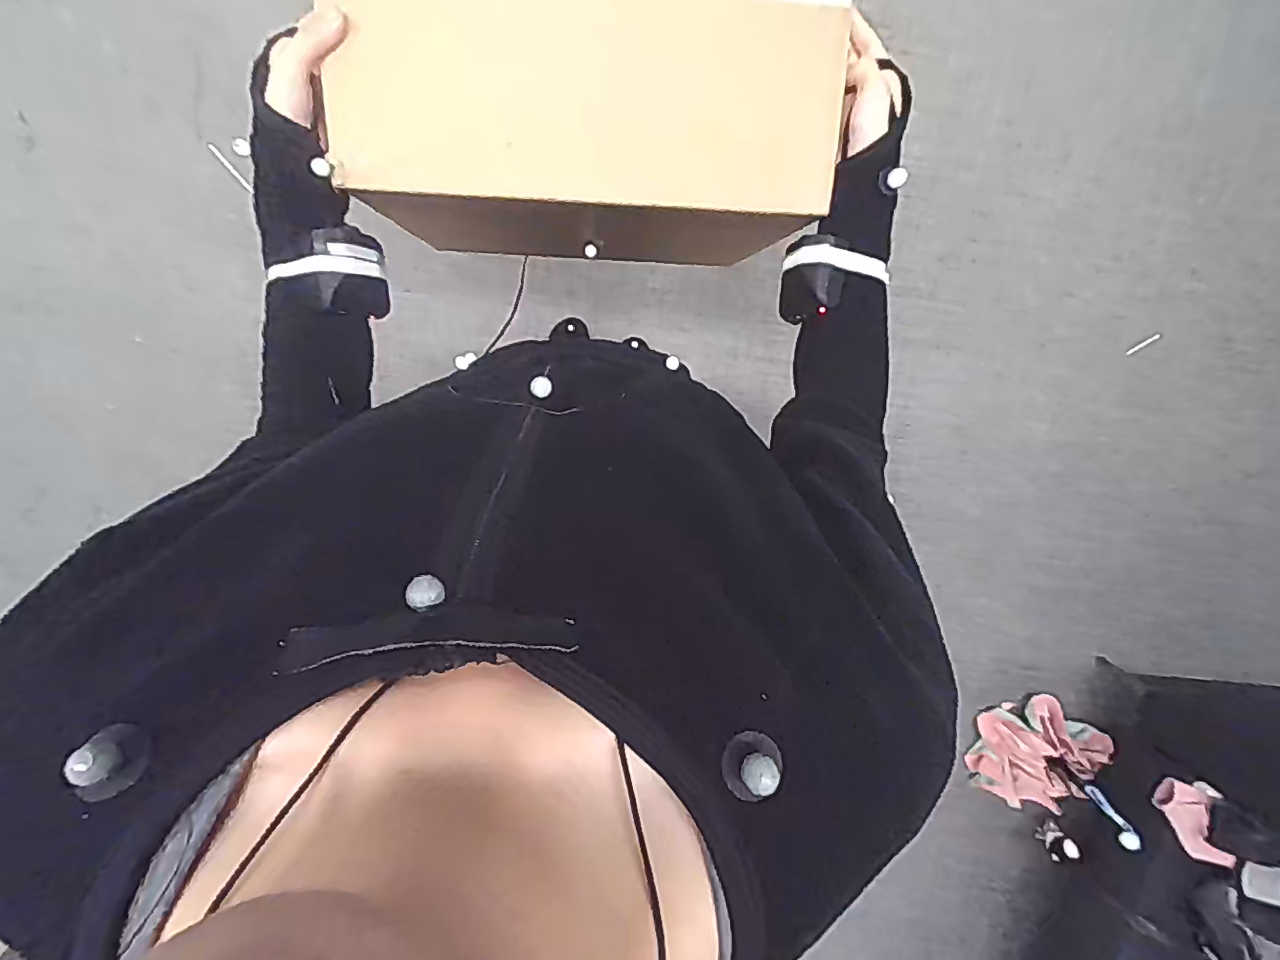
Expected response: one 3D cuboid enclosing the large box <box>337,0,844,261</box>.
[{"bbox_3d":[-0.043,-0.417,0.566,0.408,0.320,0.320,1,103,-5],"label":"large box"}]
